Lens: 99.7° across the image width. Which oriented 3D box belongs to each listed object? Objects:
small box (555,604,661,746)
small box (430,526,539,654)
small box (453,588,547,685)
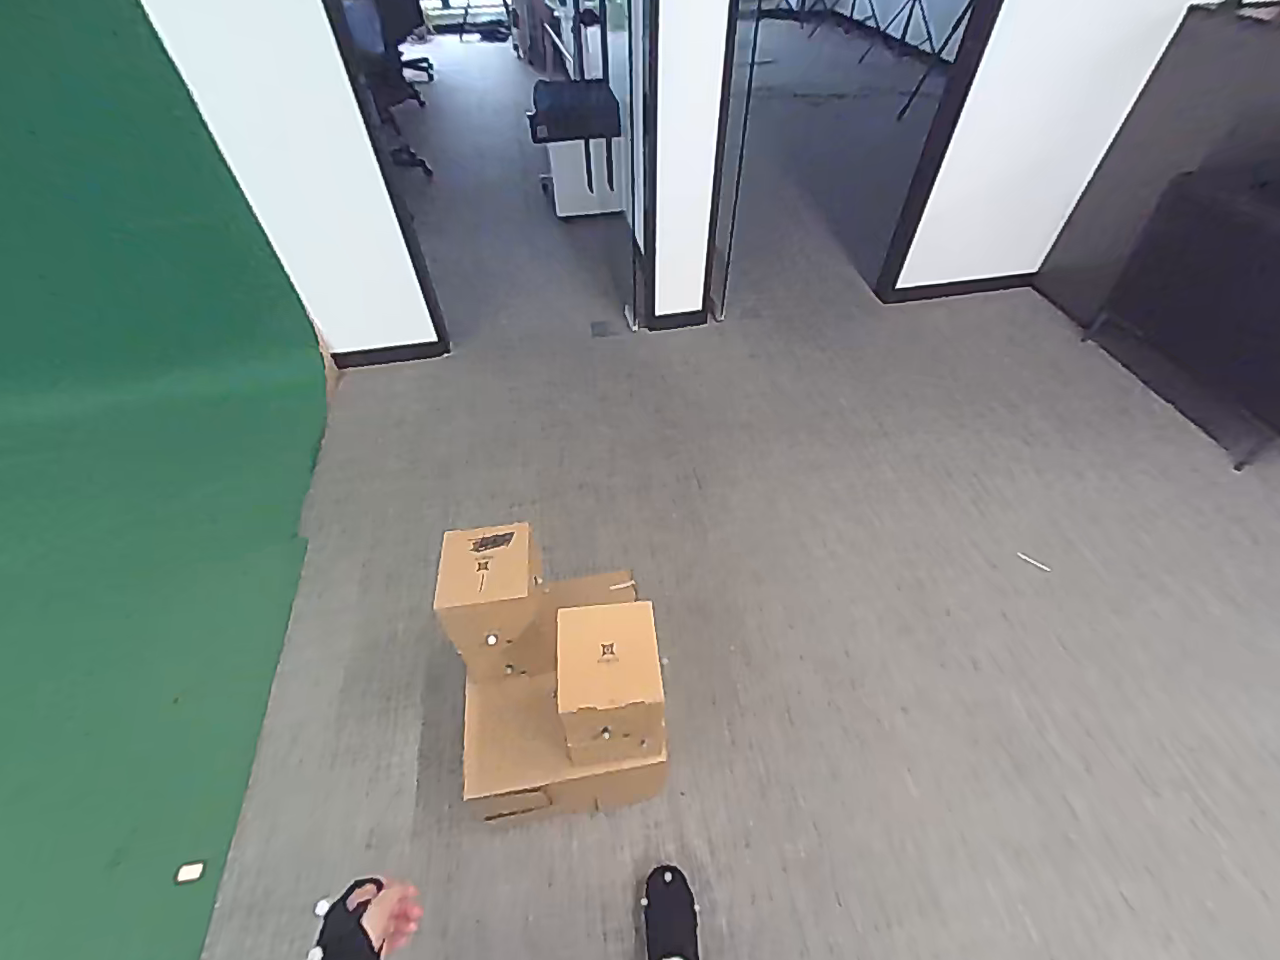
[{"bbox_3d":[-0.060,0.339,0.940,0.168,0.176,0.179,-4,48,-5],"label":"small box"},{"bbox_3d":[-0.293,0.215,1.056,0.168,0.176,0.179,-7,46,-5],"label":"small box"},{"bbox_3d":[-0.300,0.320,1.184,0.168,0.176,0.179,-8,46,-6],"label":"small box"}]
